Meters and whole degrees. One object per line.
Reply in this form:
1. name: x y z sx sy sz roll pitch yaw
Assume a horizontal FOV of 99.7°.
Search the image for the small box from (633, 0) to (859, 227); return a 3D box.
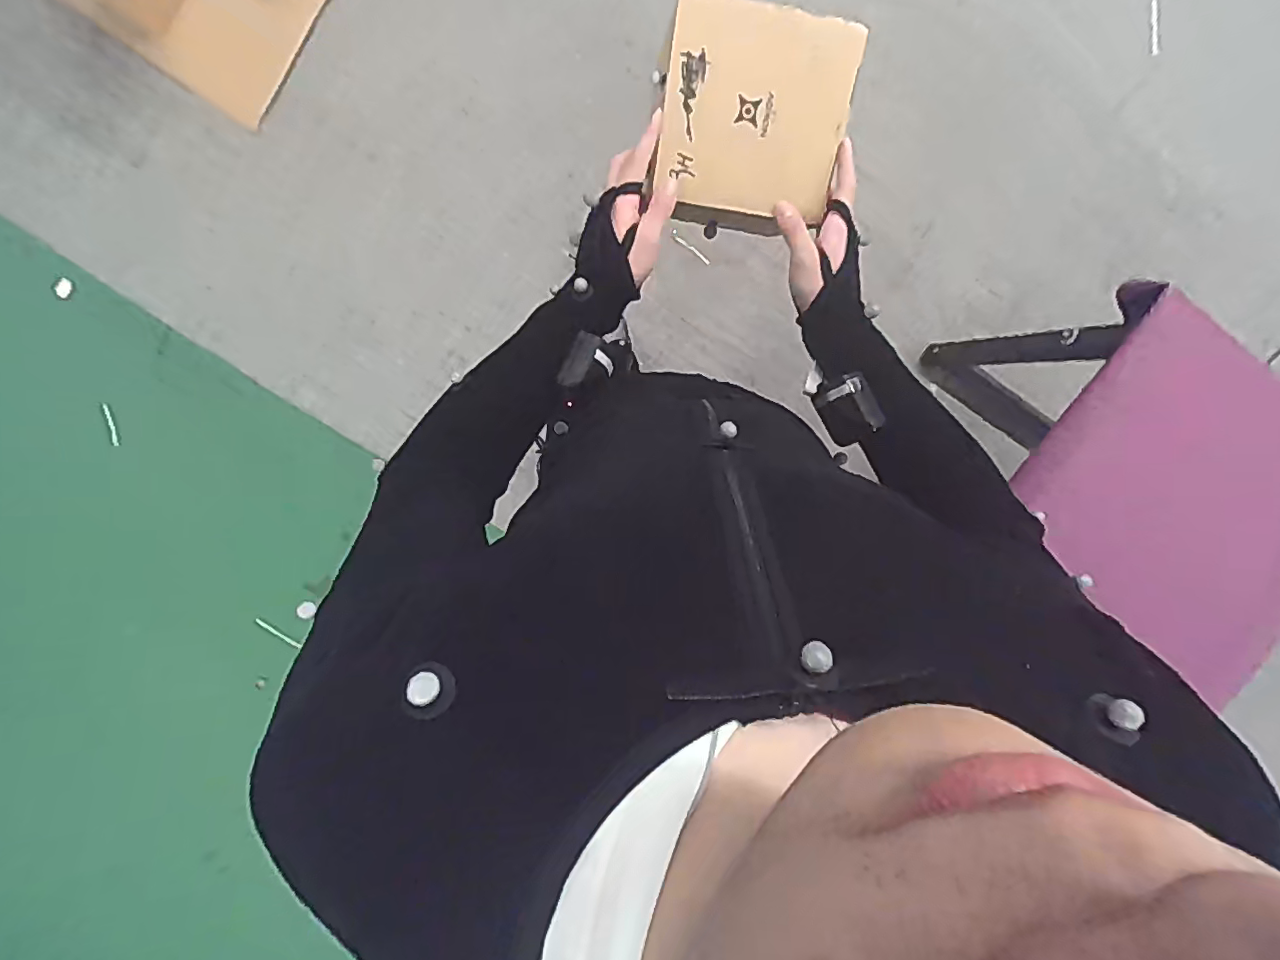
1. small box: 0.094 -0.373 0.574 0.179 0.176 0.168 6 110 -7
